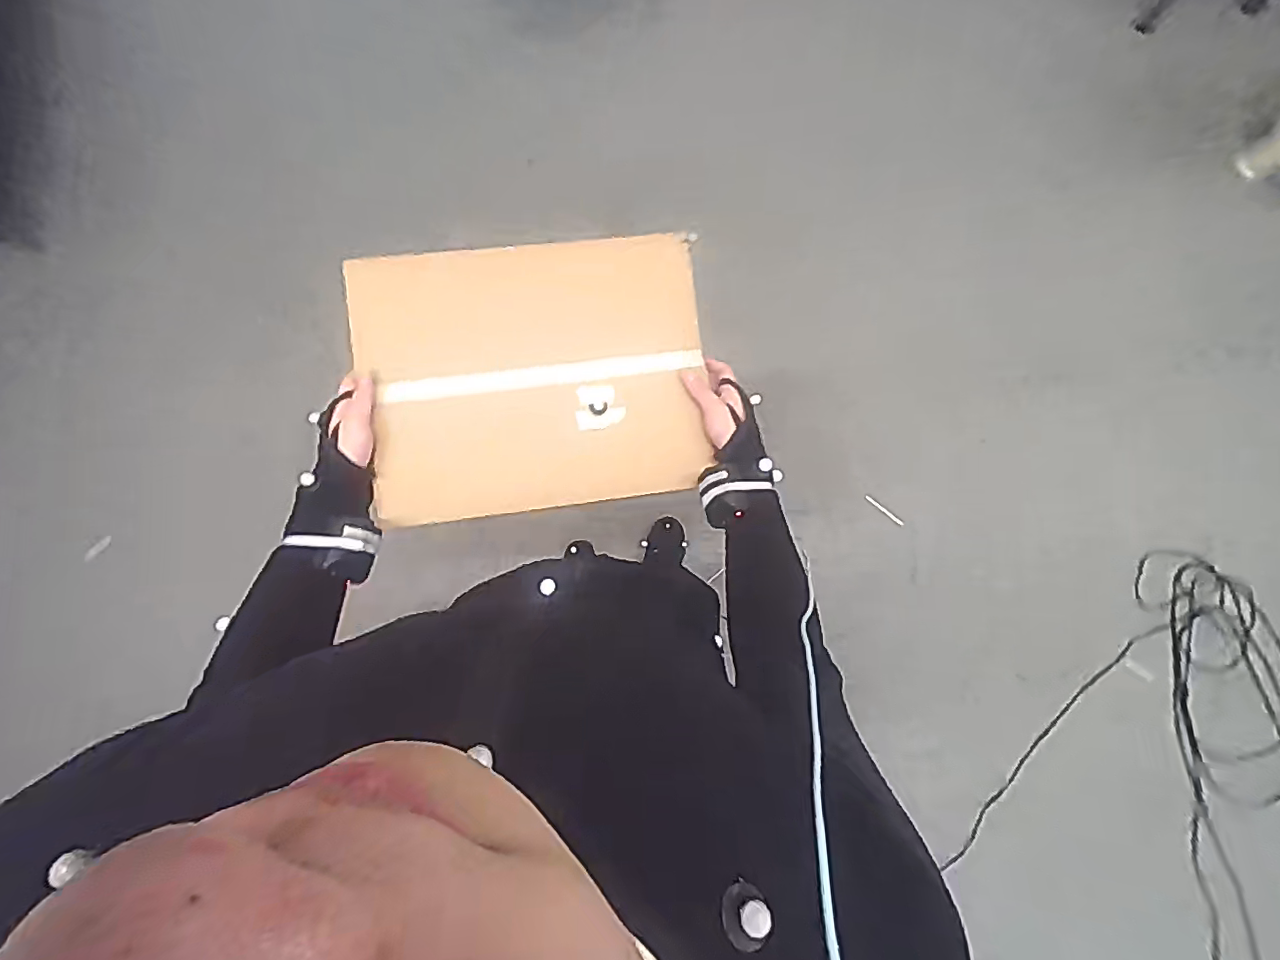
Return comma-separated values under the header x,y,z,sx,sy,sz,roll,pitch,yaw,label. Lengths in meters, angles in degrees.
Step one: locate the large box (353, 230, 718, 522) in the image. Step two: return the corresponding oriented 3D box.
x,y,z,sx,sy,sz,roll,pitch,yaw,label
-0.137,-0.129,0.797,0.408,0.320,0.320,-8,91,-7,large box
